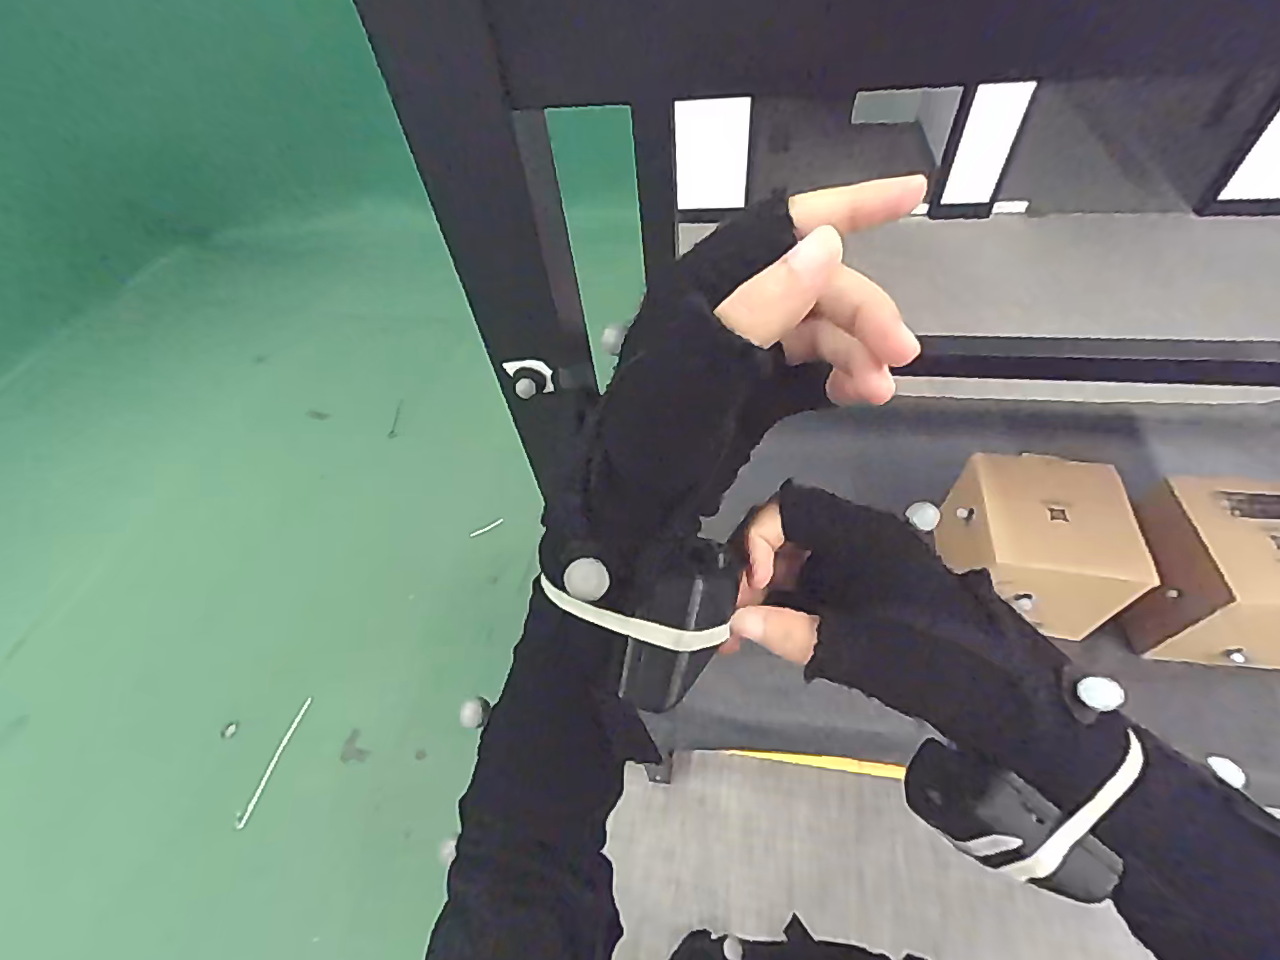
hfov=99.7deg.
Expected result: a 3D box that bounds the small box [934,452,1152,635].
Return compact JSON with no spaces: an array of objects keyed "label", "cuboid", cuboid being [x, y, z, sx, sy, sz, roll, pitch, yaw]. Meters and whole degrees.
[{"label":"small box","cuboid":[0.515,0.087,0.725,0.168,0.176,0.179,7,52,12]}]
